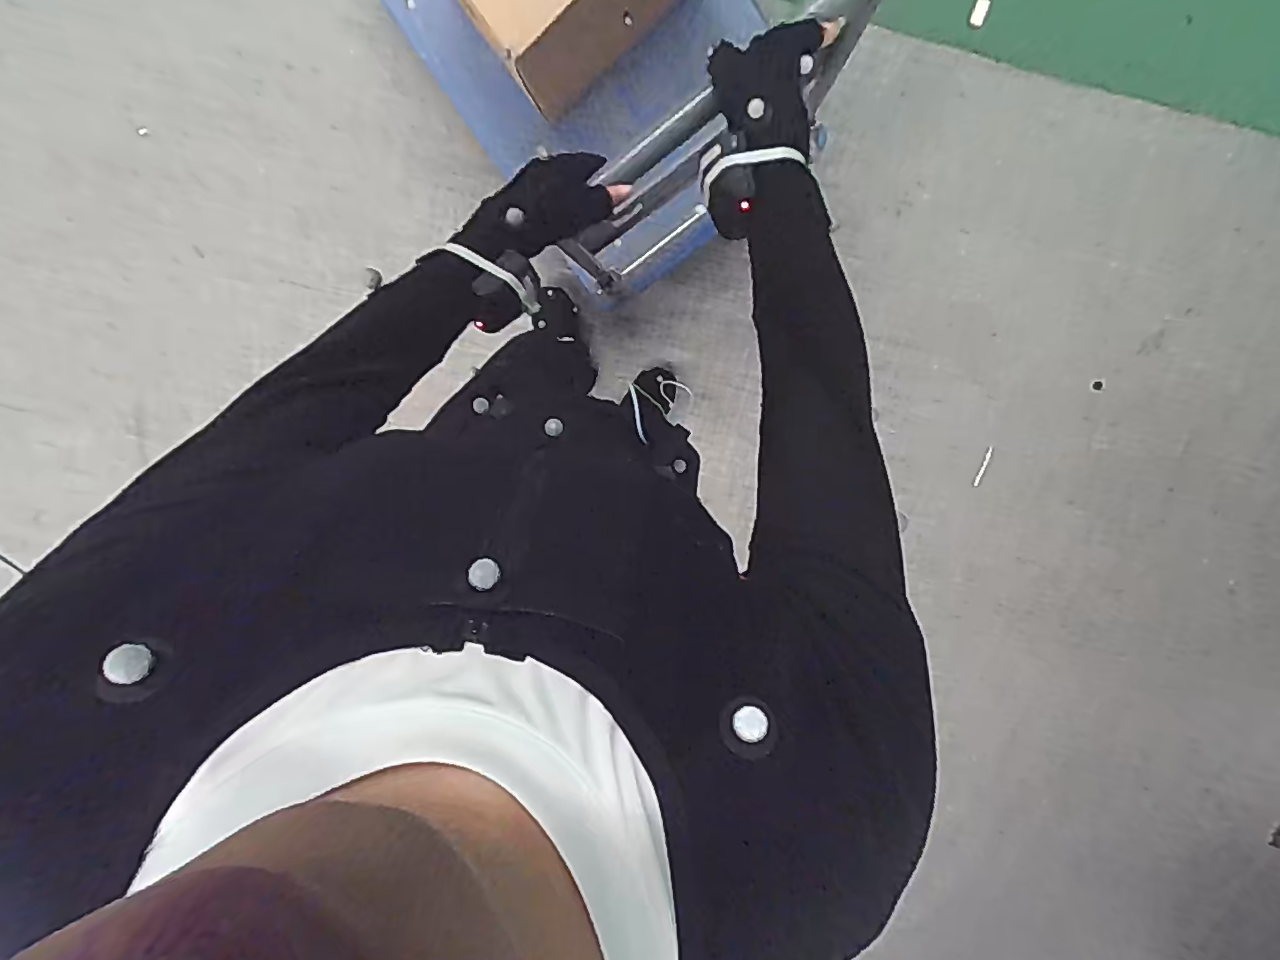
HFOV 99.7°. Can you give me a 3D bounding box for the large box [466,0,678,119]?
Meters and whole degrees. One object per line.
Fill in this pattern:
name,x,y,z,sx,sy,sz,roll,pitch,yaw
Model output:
large box,-0.114,-0.912,0.884,0.408,0.320,0.320,-37,103,13
